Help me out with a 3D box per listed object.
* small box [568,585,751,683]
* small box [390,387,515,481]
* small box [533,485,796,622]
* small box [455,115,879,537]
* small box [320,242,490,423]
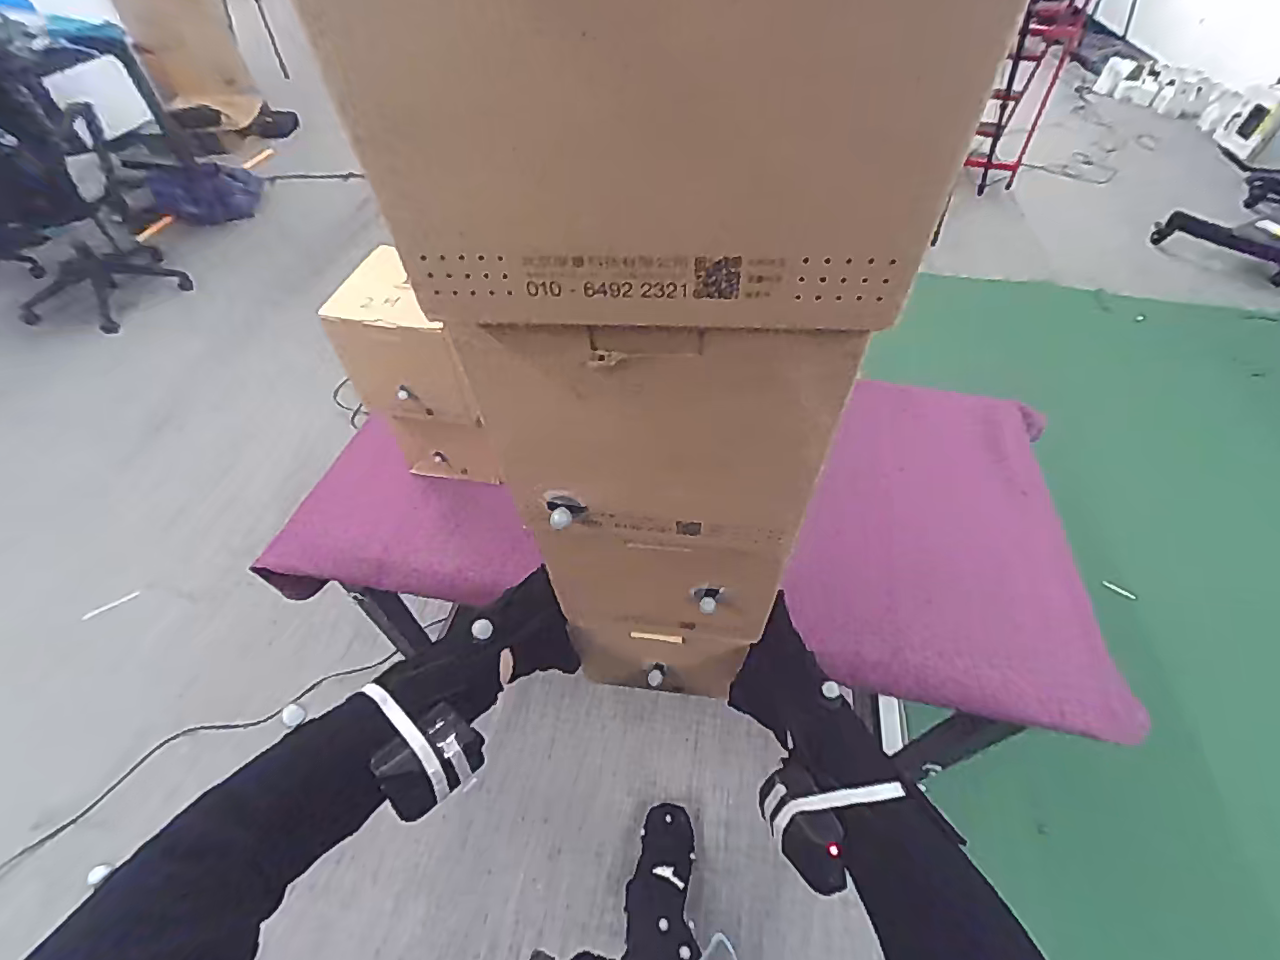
[{"bbox_3d":[0.028,0.107,0.583,0.168,0.176,0.179,1,53,5],"label":"small box"},{"bbox_3d":[-0.301,-0.124,0.914,0.168,0.176,0.179,7,52,4],"label":"small box"},{"bbox_3d":[0.028,-0.001,0.437,0.168,0.176,0.179,4,53,6],"label":"small box"},{"bbox_3d":[0.021,-0.084,0.315,0.168,0.176,0.179,5,53,6],"label":"small box"},{"bbox_3d":[-0.303,-0.208,0.771,0.168,0.176,0.179,8,53,5],"label":"small box"}]
